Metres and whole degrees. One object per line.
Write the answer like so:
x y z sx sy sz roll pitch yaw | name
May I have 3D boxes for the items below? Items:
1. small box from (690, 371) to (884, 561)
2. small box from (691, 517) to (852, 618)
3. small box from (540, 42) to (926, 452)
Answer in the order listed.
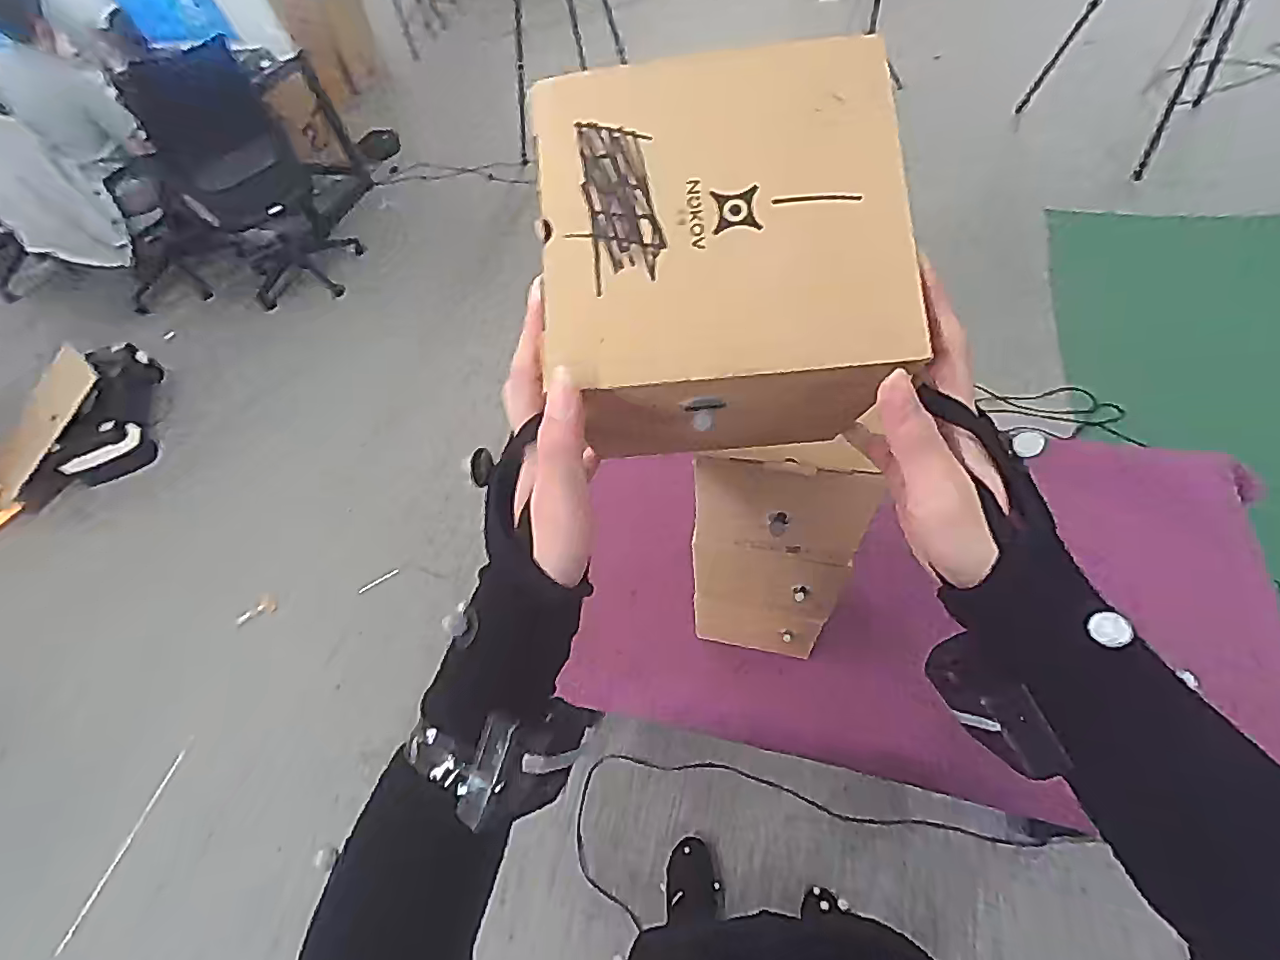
0.152 -0.032 0.572 0.168 0.176 0.179 7 57 12 | small box
0.170 0.065 0.701 0.179 0.176 0.168 8 57 14 | small box
0.046 -0.117 0.338 0.179 0.176 0.168 -4 81 5 | small box
